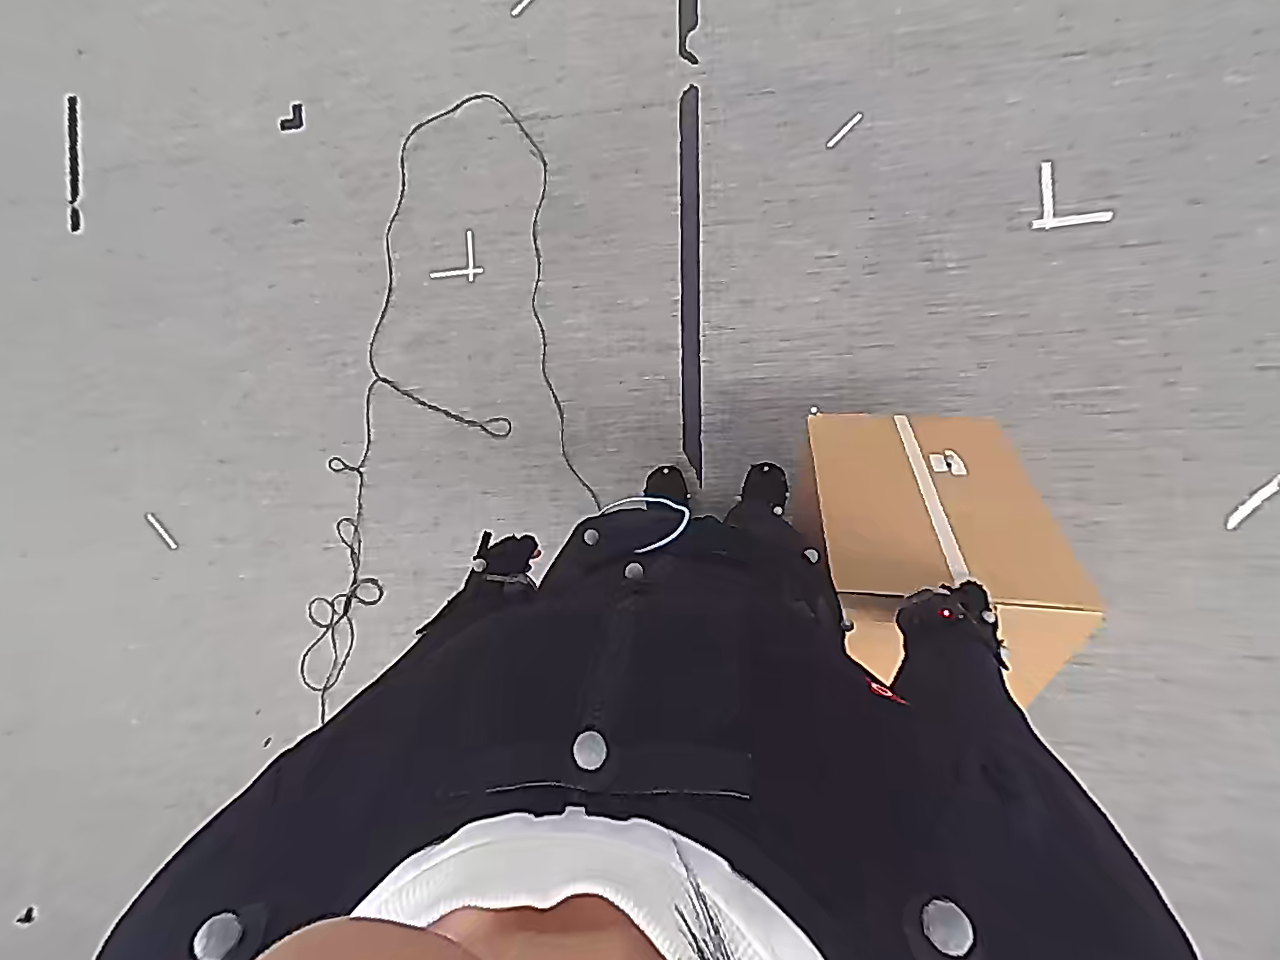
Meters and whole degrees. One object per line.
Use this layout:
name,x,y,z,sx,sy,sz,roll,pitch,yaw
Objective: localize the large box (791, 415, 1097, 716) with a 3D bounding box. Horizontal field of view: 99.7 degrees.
large box,0.442,0.131,0.918,0.320,0.408,0.320,3,130,8
